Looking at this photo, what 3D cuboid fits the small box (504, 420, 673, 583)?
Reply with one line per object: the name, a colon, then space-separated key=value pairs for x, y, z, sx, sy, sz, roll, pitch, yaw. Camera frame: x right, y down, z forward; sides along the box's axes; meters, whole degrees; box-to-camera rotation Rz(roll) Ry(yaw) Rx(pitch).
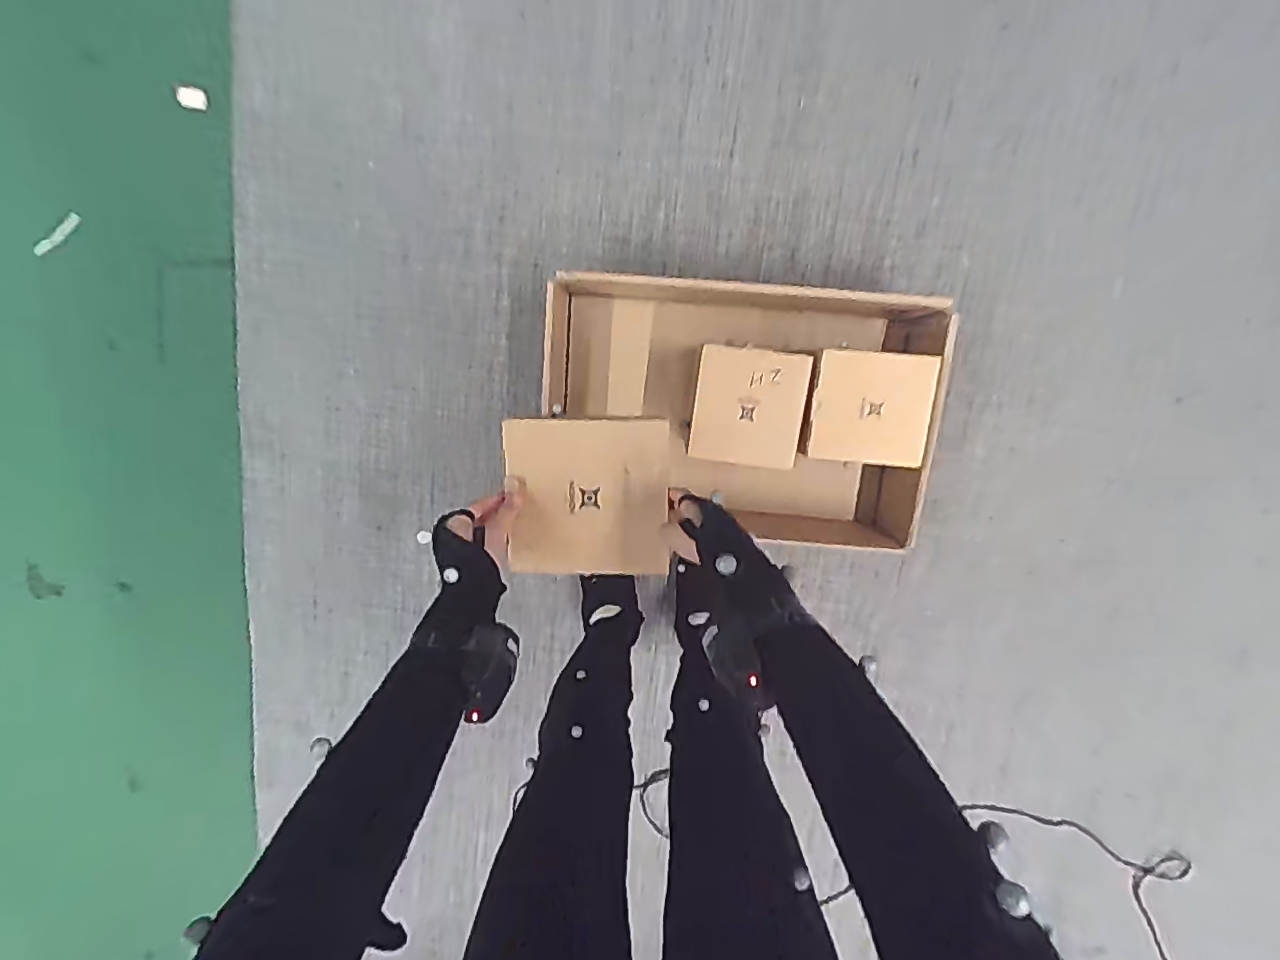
small box: x=-0.052 y=0.015 z=0.643 sx=0.179 sy=0.176 sz=0.168 roll=1 pitch=98 yaw=2
